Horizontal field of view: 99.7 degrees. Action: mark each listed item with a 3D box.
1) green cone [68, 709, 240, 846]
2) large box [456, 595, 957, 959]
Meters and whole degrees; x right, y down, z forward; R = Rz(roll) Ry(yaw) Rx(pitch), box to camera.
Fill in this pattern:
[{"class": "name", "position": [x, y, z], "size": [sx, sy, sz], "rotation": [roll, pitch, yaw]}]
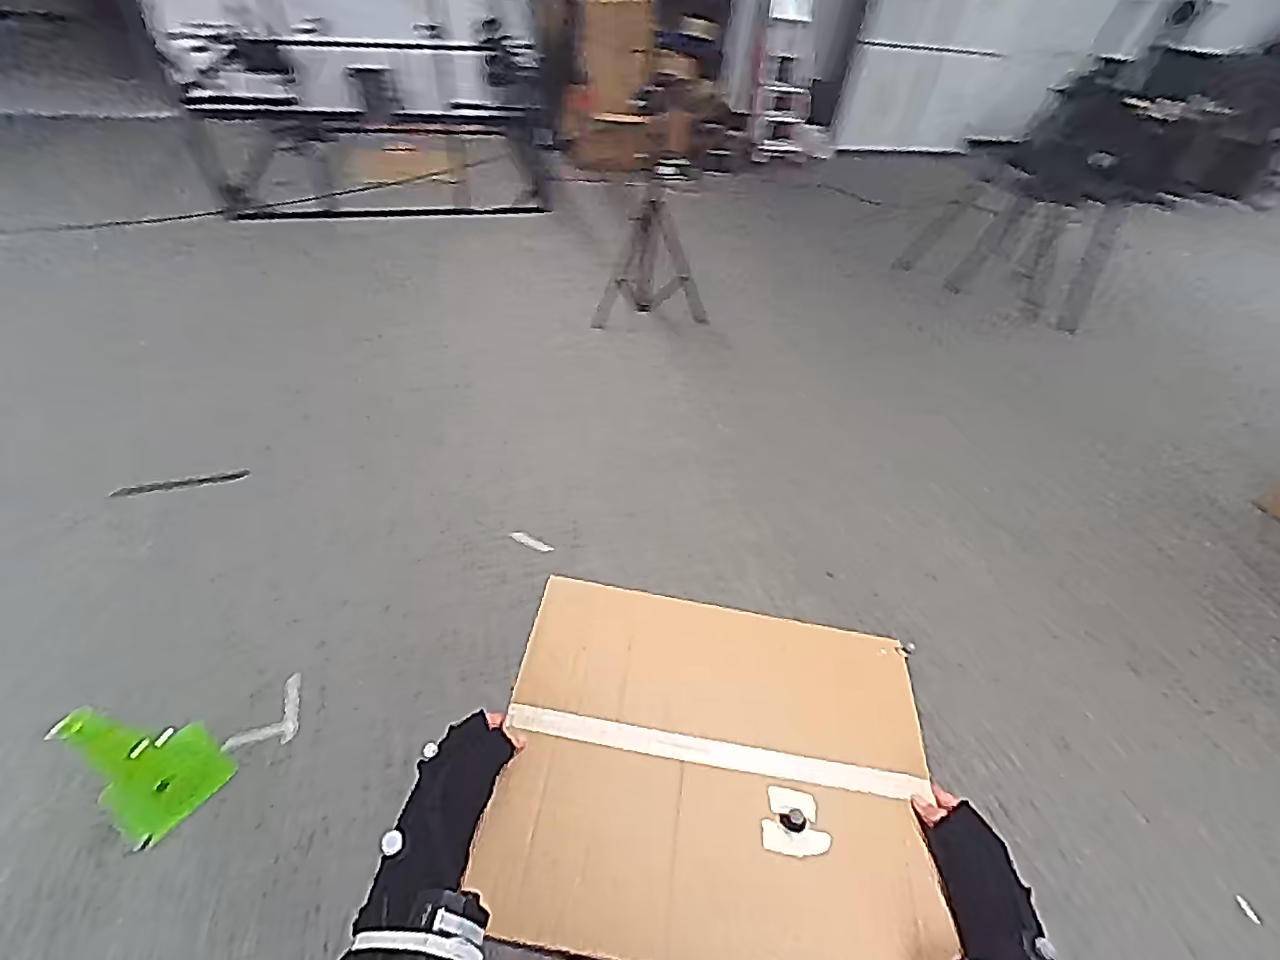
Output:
[{"class": "green cone", "position": [-1.066, 0.582, 1.147], "size": [0.202, 0.368, 0.200], "rotation": [28, 47, 22]}, {"class": "large box", "position": [0.050, 0.368, 0.617], "size": [0.408, 0.320, 0.320], "rotation": [10, 47, 0]}]
